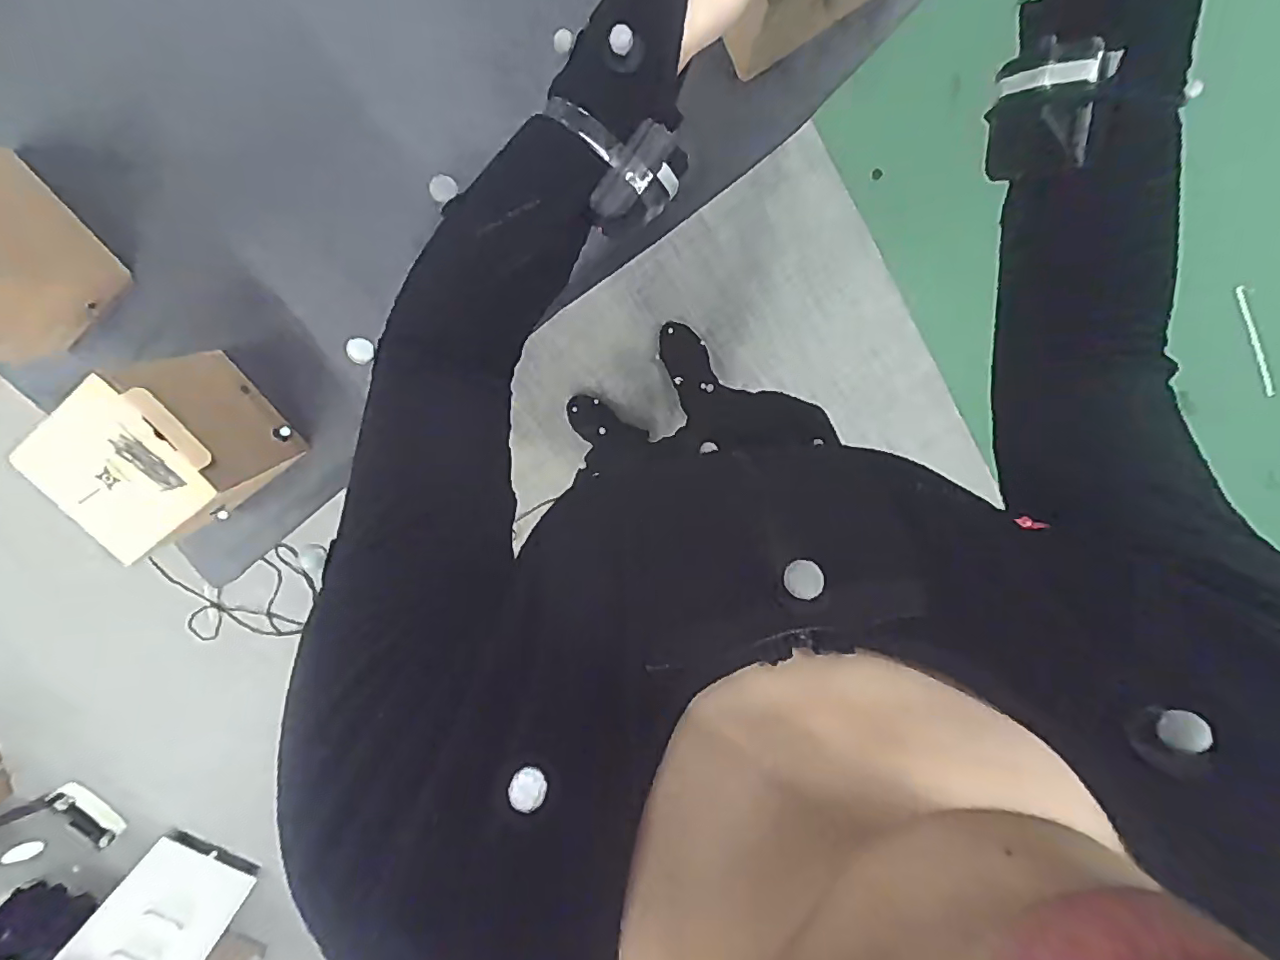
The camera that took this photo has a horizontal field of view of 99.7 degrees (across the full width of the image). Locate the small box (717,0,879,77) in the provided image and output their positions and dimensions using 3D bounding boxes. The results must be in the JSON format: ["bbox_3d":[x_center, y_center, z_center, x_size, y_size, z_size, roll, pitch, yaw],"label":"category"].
[{"bbox_3d":[0.143,-0.494,0.457,0.179,0.176,0.168,-27,105,13],"label":"small box"}]

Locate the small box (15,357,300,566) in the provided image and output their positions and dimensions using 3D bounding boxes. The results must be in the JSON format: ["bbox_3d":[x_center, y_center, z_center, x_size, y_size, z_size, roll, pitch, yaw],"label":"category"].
[{"bbox_3d":[-0.570,-0.033,0.672,0.179,0.176,0.168,-32,106,14],"label":"small box"}]
